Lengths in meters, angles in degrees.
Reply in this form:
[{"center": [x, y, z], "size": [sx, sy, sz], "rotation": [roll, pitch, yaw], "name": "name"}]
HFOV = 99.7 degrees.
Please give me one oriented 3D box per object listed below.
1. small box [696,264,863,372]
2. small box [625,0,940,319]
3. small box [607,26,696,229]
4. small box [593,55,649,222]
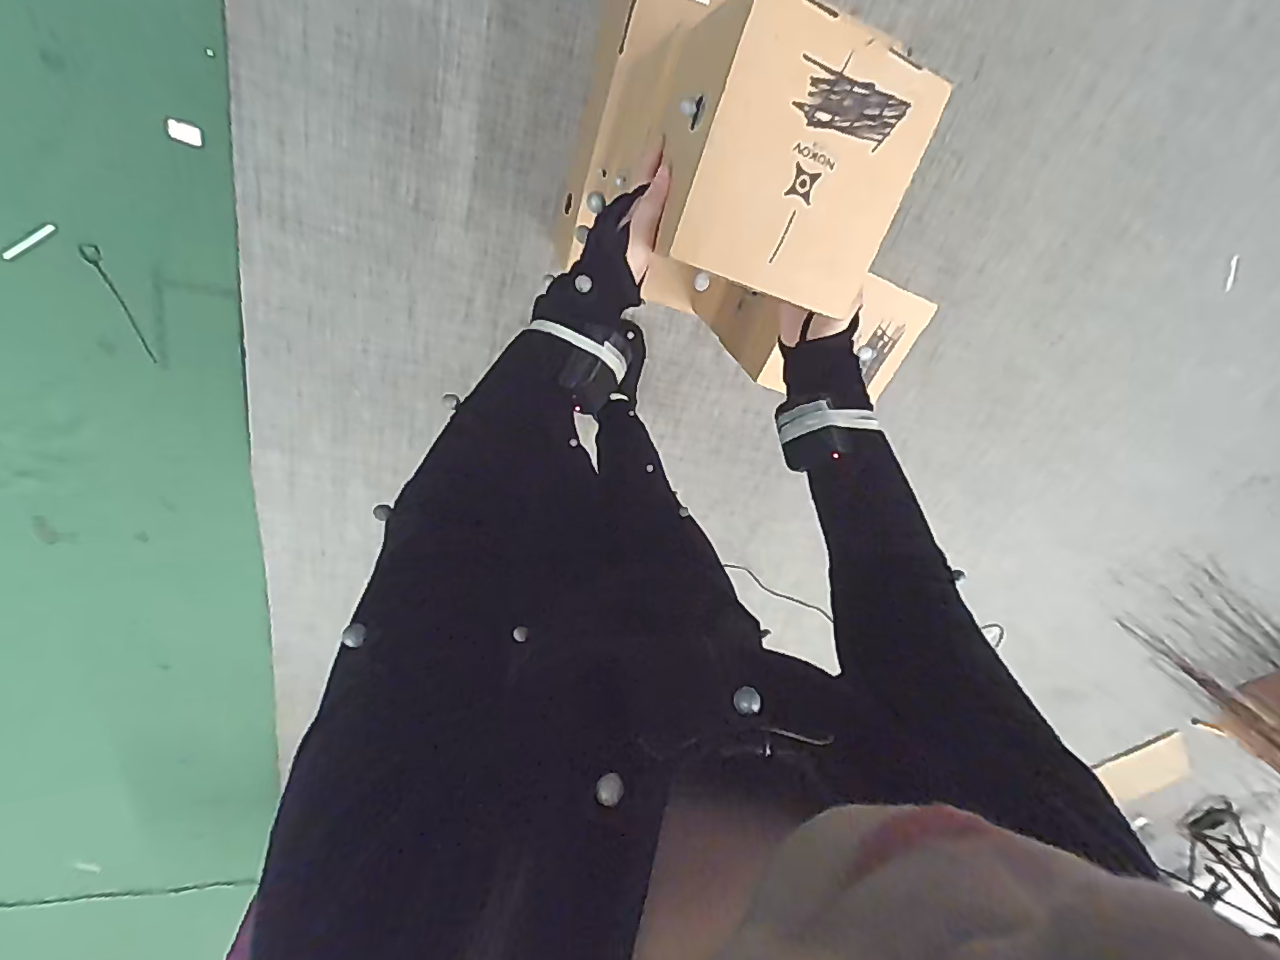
[{"center": [0.206, -0.300, 0.858], "size": [0.168, 0.176, 0.179], "rotation": [14, 116, -18], "name": "small box"}, {"center": [0.098, -0.261, 0.461], "size": [0.168, 0.176, 0.179], "rotation": [12, 113, -20], "name": "small box"}, {"center": [0.066, -0.358, 0.610], "size": [0.168, 0.176, 0.179], "rotation": [12, 118, -17], "name": "small box"}, {"center": [0.037, -0.438, 0.748], "size": [0.168, 0.176, 0.179], "rotation": [13, 116, -17], "name": "small box"}]
